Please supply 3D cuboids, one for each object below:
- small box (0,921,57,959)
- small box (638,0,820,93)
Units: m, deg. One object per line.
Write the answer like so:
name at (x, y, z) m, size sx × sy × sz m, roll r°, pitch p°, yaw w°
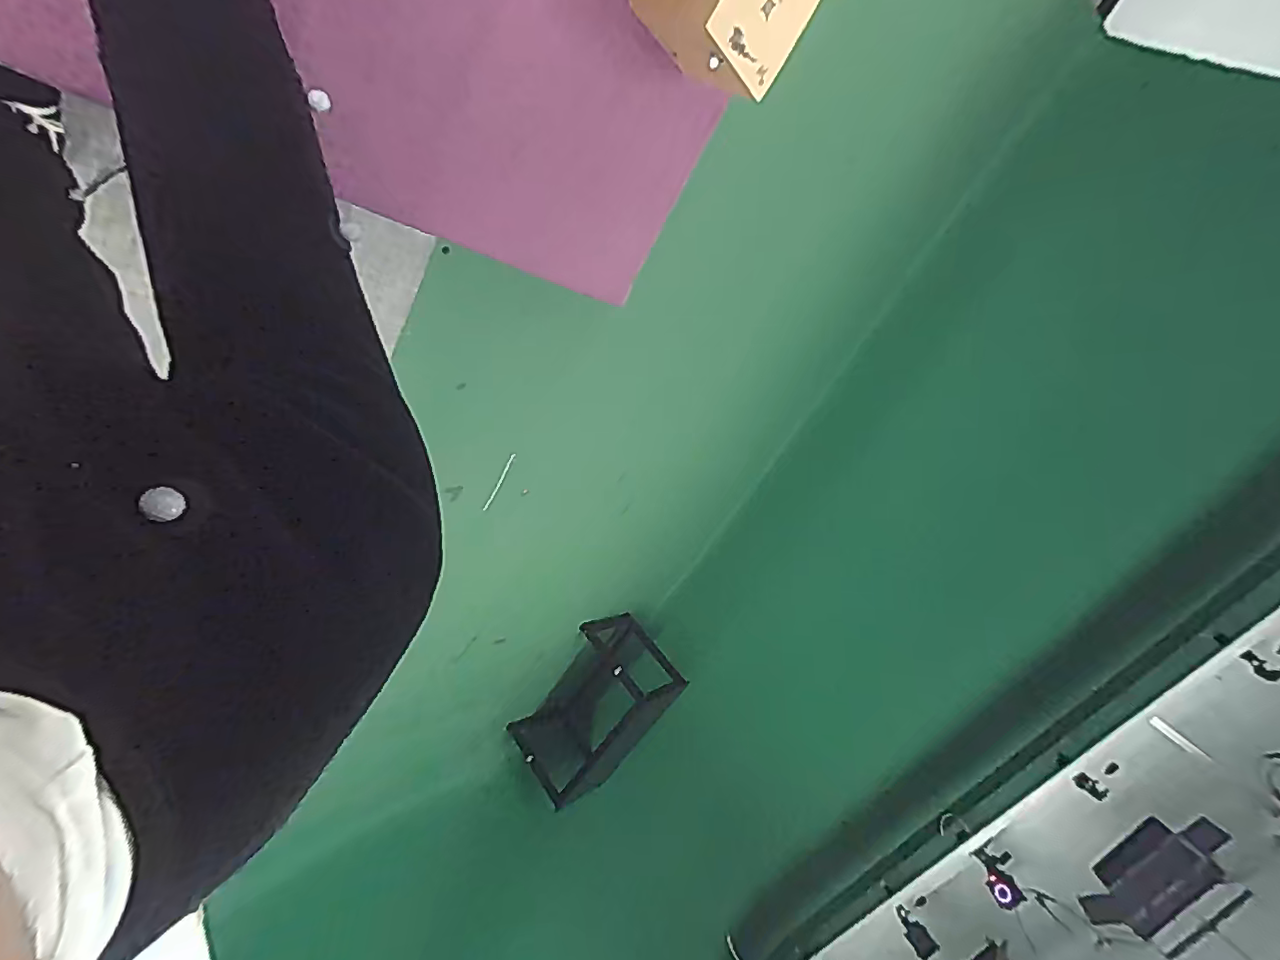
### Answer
small box at (-1.585, 1.262, 1.345) m, size 0.168 × 0.176 × 0.179 m, roll 7°, pitch 123°, yaw -56°
small box at (0.128, -0.684, 0.734) m, size 0.168 × 0.176 × 0.179 m, roll 4°, pitch 125°, yaw -53°
